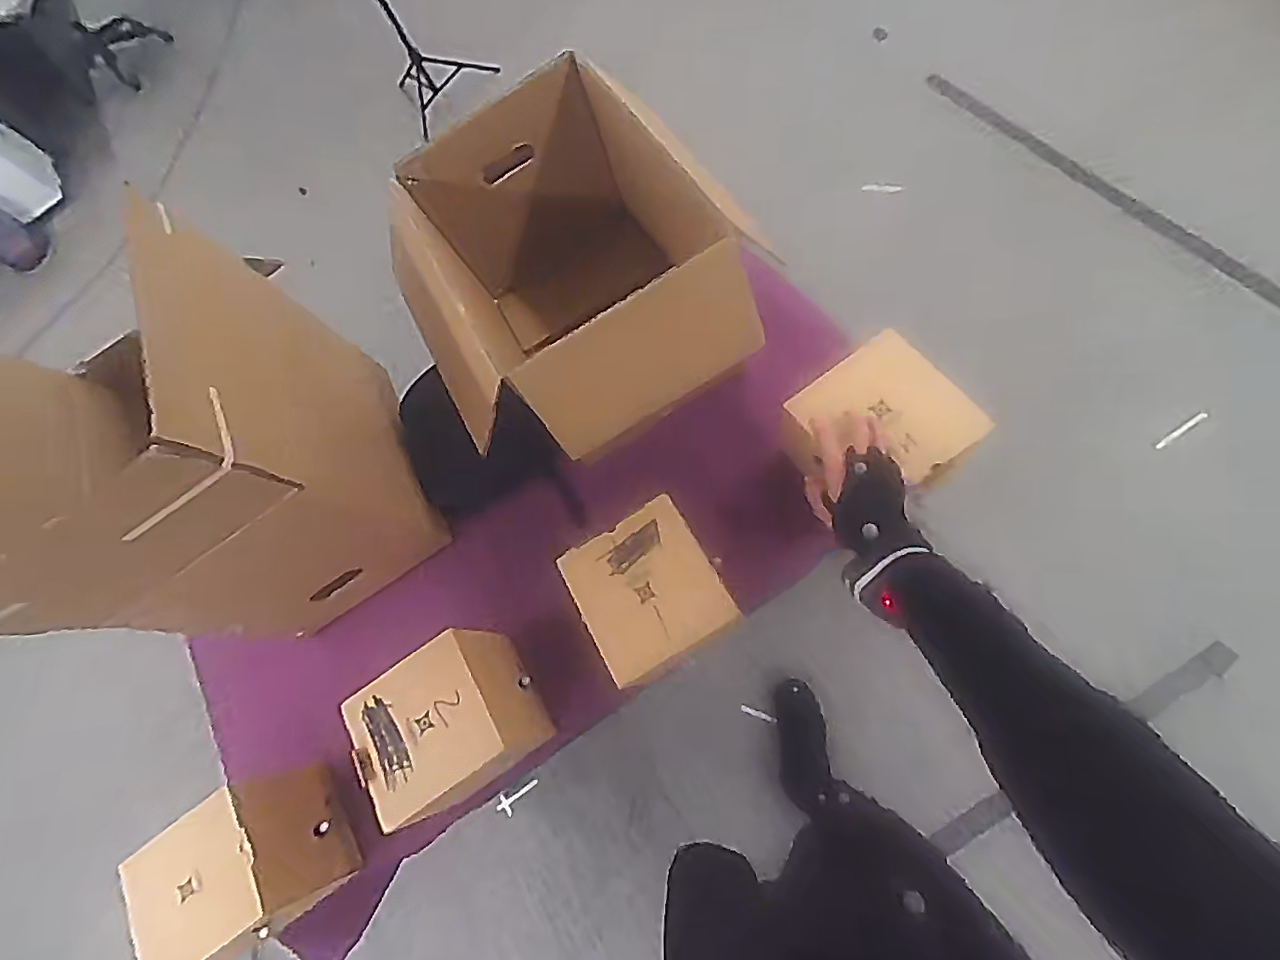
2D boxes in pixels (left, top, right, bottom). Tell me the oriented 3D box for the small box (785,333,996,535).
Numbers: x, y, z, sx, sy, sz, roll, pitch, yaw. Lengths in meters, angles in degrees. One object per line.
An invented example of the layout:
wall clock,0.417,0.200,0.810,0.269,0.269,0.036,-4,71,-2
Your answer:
small box,0.309,-0.050,0.713,0.168,0.176,0.179,-36,68,2

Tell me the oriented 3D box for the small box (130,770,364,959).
small box,-0.522,0.530,0.735,0.179,0.176,0.168,-37,67,-1
